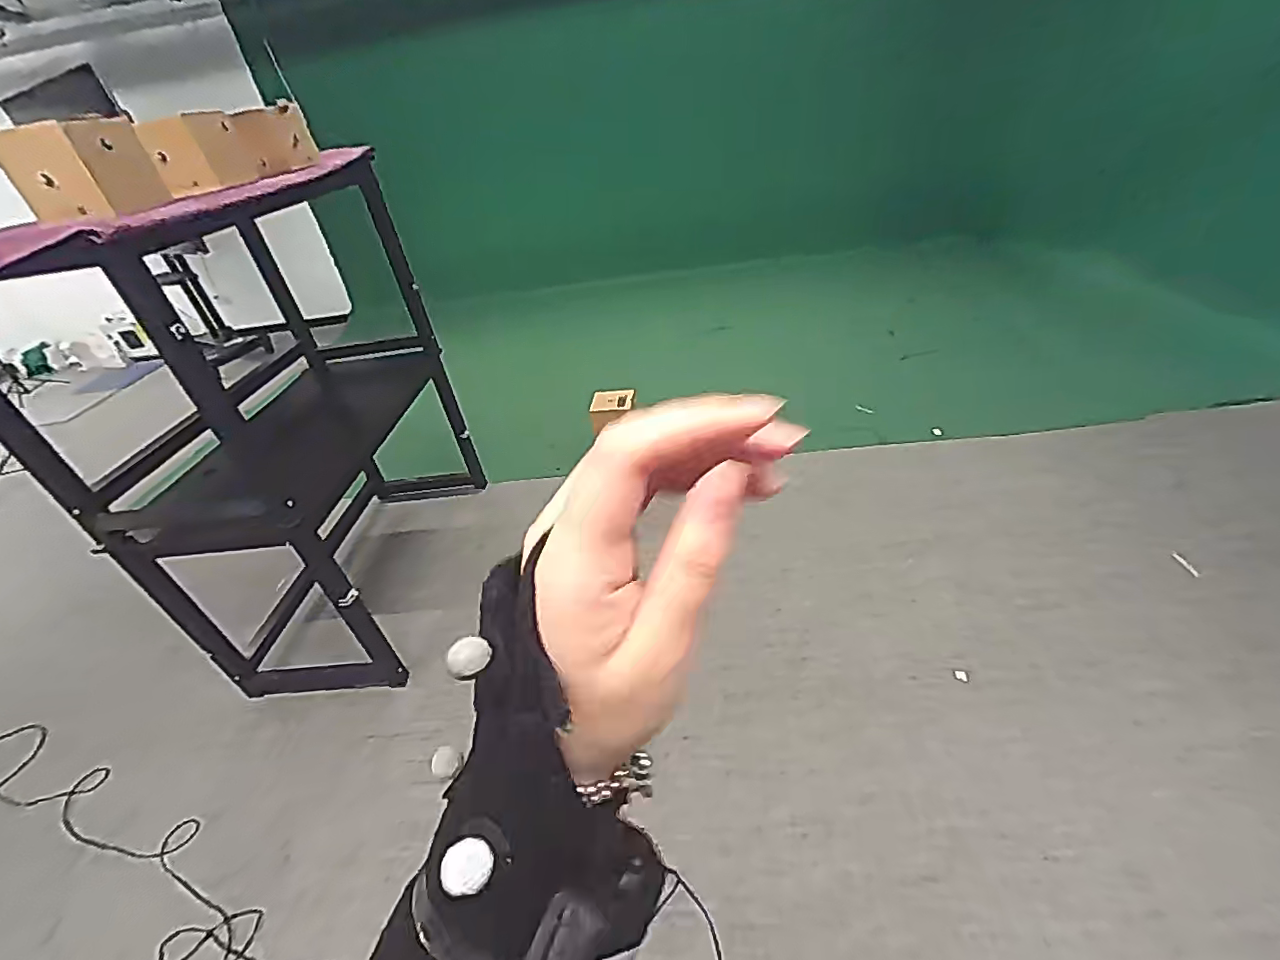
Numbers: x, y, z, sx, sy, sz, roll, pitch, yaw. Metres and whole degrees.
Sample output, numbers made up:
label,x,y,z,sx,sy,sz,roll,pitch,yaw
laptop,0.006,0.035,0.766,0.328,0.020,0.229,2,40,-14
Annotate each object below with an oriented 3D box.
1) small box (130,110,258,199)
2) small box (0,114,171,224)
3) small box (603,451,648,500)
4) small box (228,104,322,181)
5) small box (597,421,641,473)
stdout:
label,x,y,z,sx,sy,sz,roll,pitch,yaw
small box,-1.147,-0.841,1.402,0.168,0.176,0.179,-7,35,6
small box,-1.132,-0.632,1.105,0.168,0.176,0.179,-5,35,4
small box,-0.066,-0.017,2.520,0.179,0.176,0.168,-3,37,8
small box,-1.146,-1.057,1.692,0.179,0.176,0.168,-3,38,12
small box,-0.088,-0.142,2.420,0.168,0.176,0.179,-3,36,6
